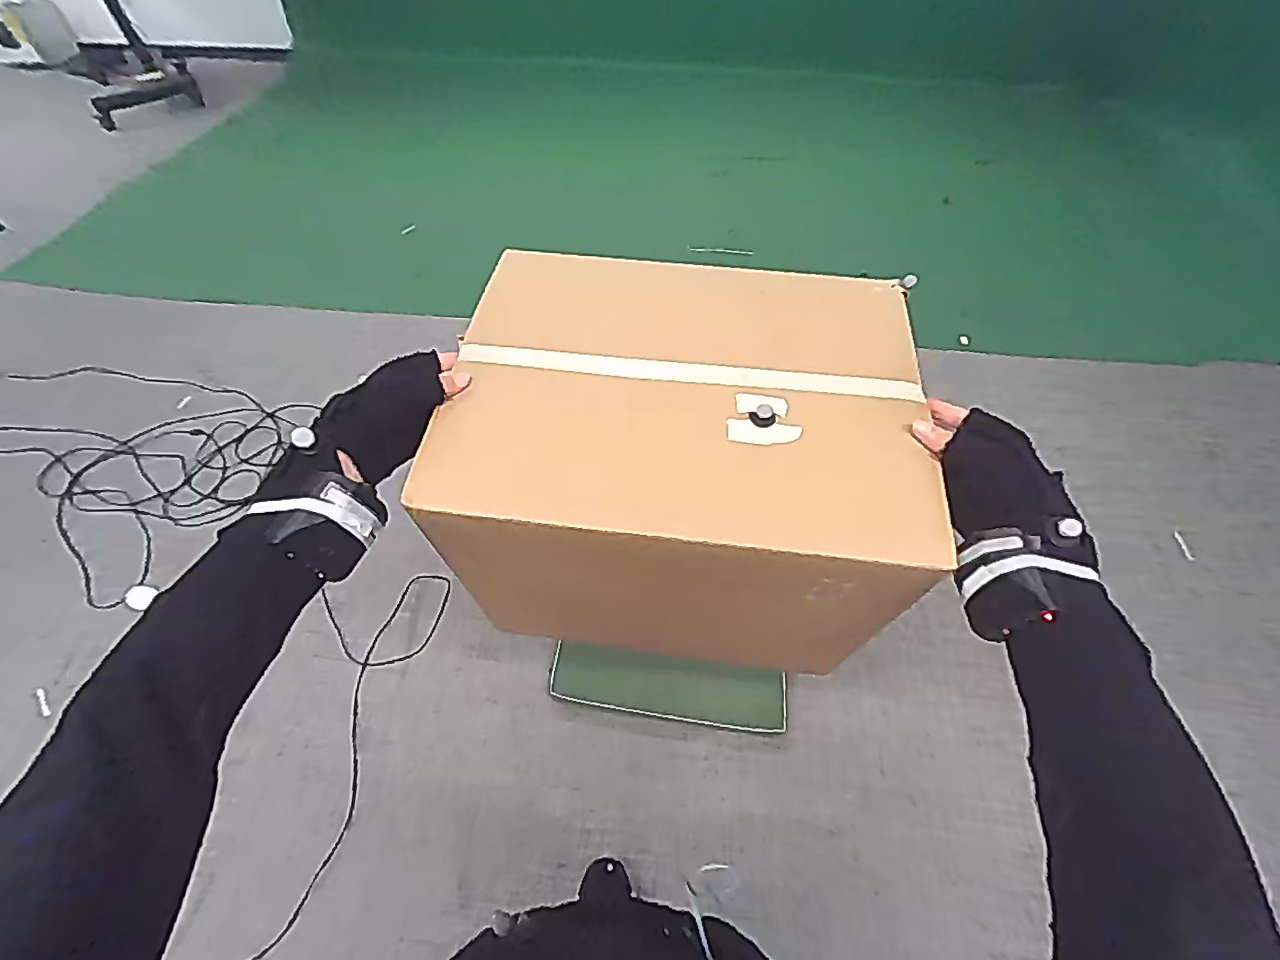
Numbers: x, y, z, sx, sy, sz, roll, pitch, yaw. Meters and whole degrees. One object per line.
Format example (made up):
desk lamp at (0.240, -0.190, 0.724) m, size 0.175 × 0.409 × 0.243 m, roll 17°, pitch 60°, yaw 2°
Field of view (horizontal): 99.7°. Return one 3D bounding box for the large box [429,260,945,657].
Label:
large box at (0.044, -0.010, 0.612) m, size 0.408 × 0.320 × 0.320 m, roll 6°, pitch 59°, yaw 3°
